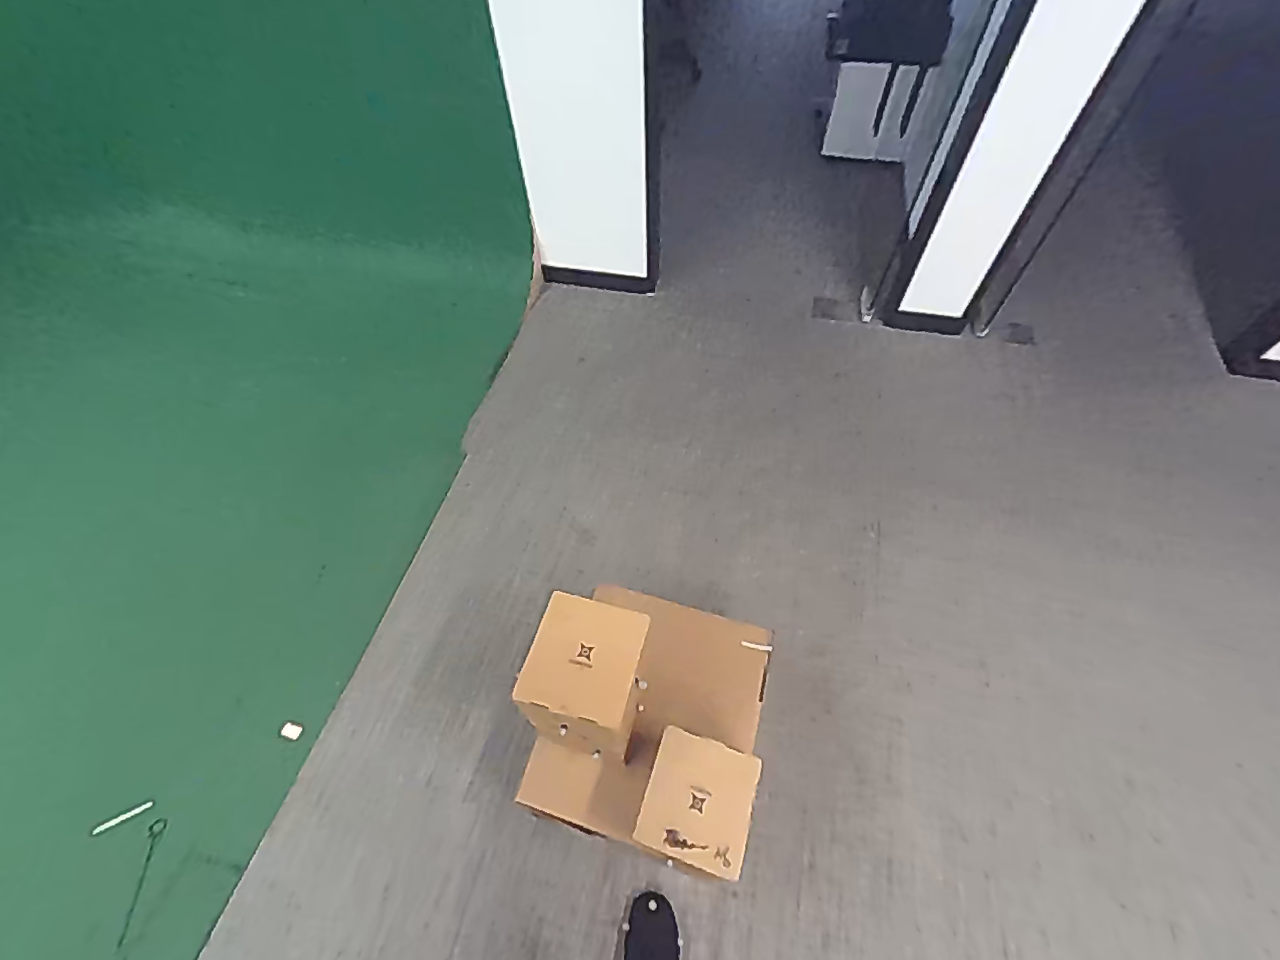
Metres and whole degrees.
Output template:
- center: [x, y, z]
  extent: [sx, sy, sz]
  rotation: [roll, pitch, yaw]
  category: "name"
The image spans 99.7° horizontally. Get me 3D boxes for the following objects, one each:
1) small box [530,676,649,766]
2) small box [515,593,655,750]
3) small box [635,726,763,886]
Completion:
- center: [-0.082, 0.410, 1.008]
  extent: [0.168, 0.176, 0.179]
  rotation: [14, 55, 11]
  category: "small box"
- center: [-0.079, 0.313, 0.876]
  extent: [0.168, 0.176, 0.179]
  rotation: [14, 57, 11]
  category: "small box"
- center: [0.094, 0.545, 0.903]
  extent: [0.168, 0.176, 0.179]
  rotation: [15, 55, 12]
  category: "small box"
